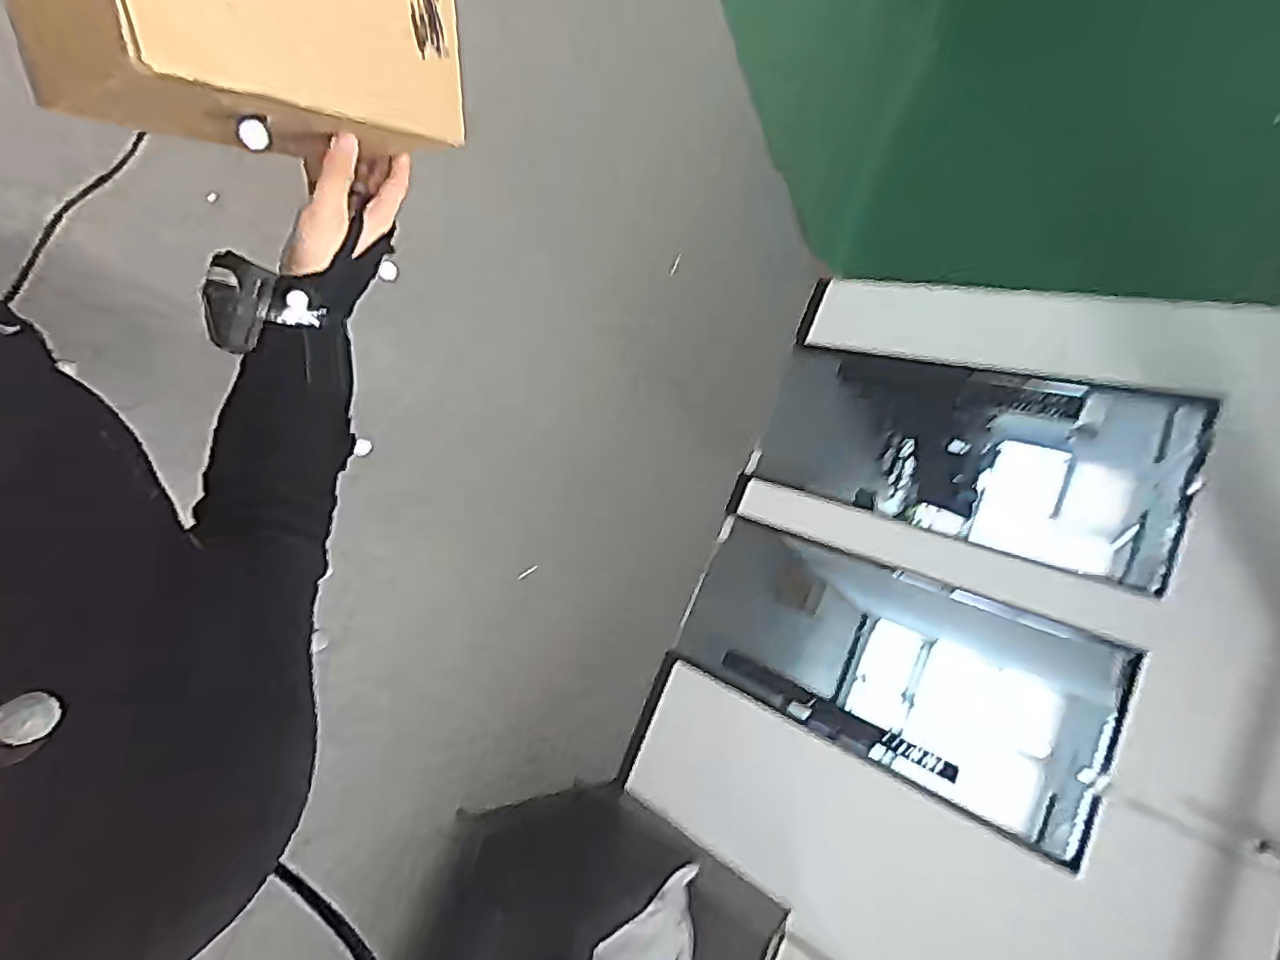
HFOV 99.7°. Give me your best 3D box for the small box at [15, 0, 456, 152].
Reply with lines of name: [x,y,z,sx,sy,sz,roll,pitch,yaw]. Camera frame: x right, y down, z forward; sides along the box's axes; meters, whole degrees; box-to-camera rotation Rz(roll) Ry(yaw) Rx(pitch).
small box: [-0.236,-0.301,0.312,0.179,0.176,0.168,-26,125,-50]
